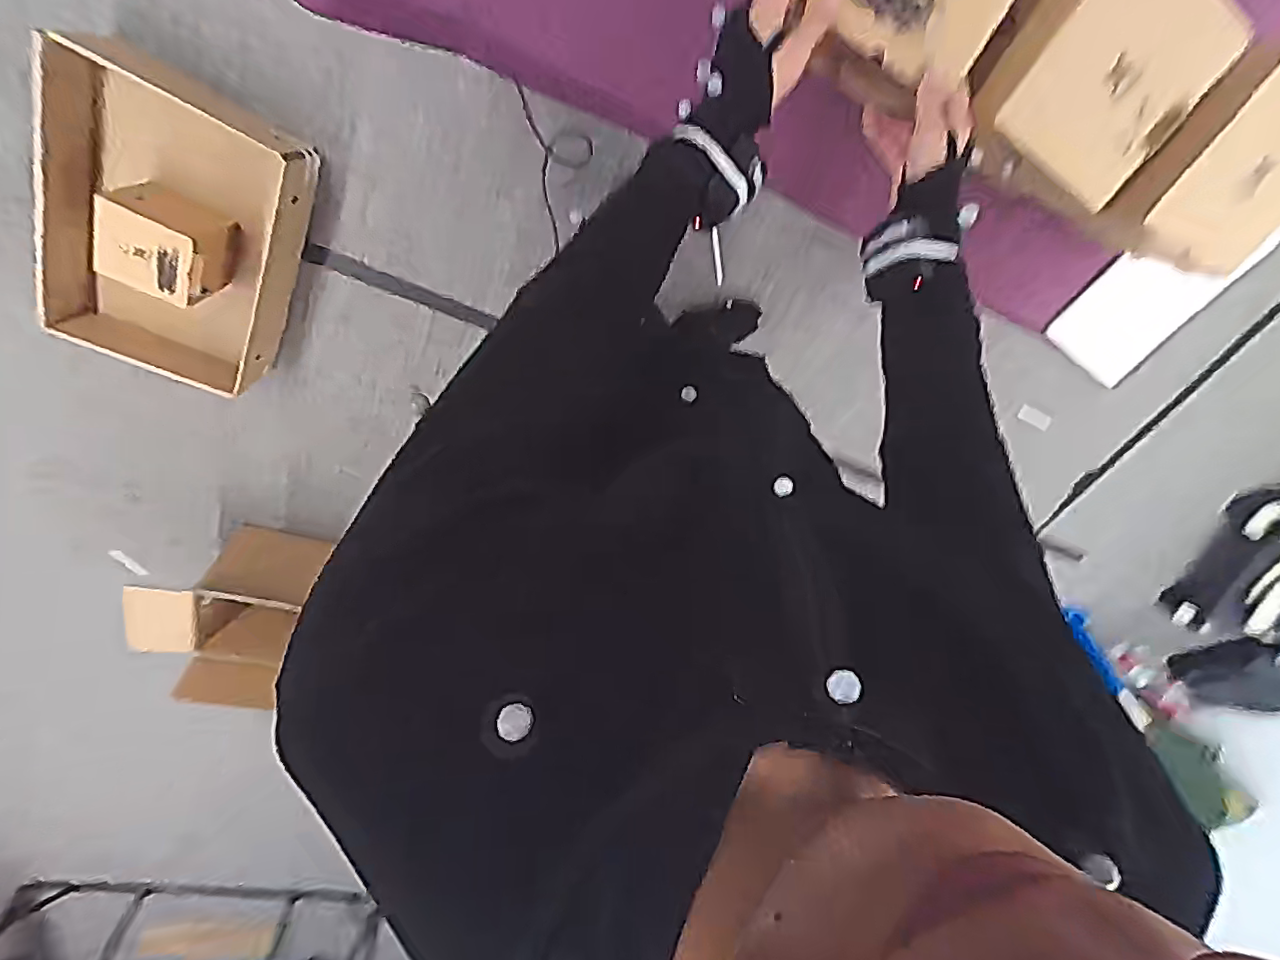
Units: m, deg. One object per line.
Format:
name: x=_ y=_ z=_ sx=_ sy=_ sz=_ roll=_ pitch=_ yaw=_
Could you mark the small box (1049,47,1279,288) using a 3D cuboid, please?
small box: x=0.637 y=-0.362 z=0.637 sx=0.168 sy=0.176 sz=0.179 roll=19 pitch=121 yaw=-20
